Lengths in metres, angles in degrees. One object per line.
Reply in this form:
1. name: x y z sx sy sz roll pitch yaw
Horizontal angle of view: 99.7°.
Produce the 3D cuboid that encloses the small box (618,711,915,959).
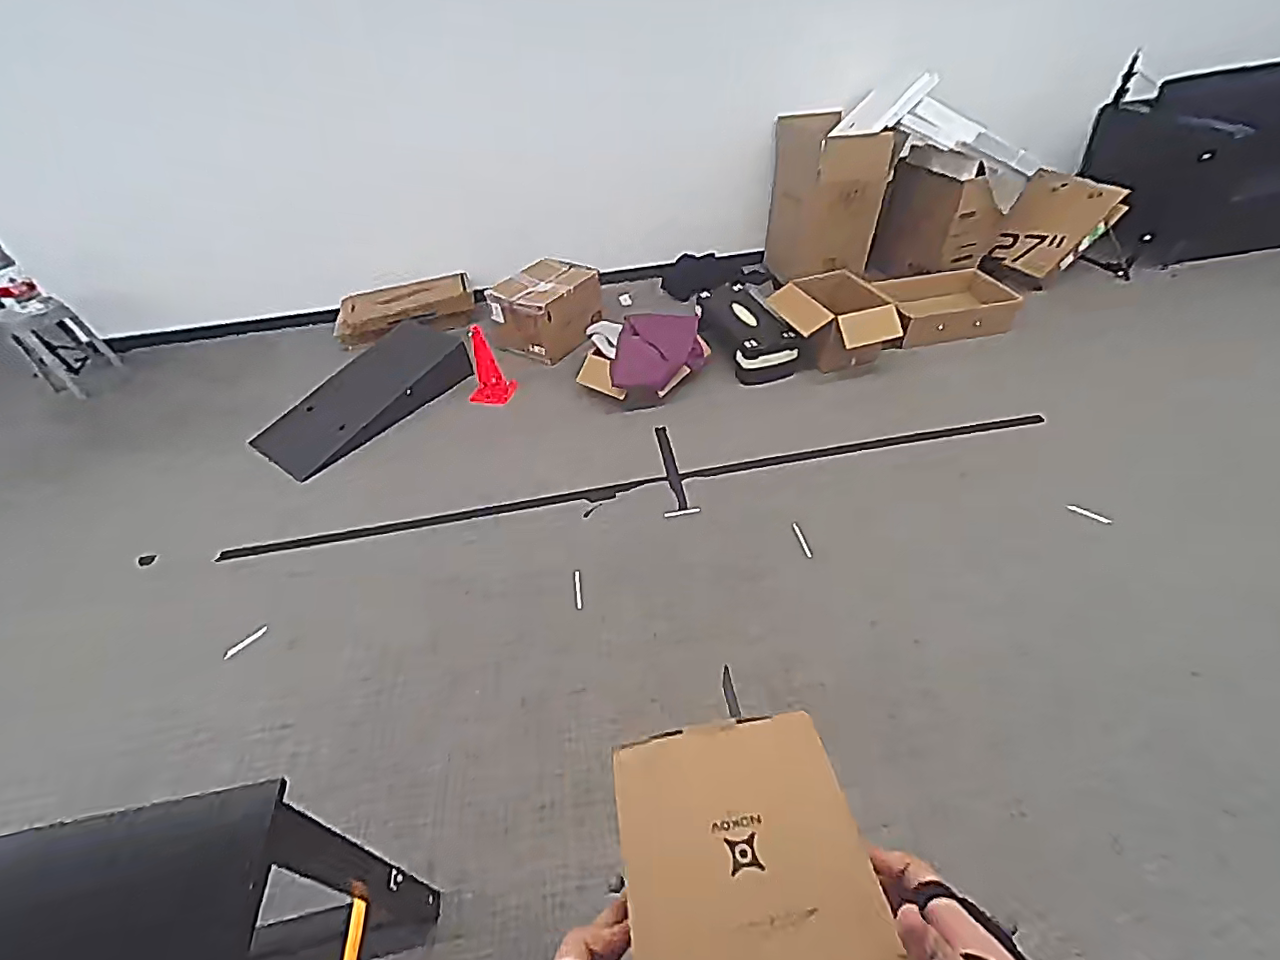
1. small box: 0.077 0.316 0.422 0.168 0.176 0.179 -8 39 -5
